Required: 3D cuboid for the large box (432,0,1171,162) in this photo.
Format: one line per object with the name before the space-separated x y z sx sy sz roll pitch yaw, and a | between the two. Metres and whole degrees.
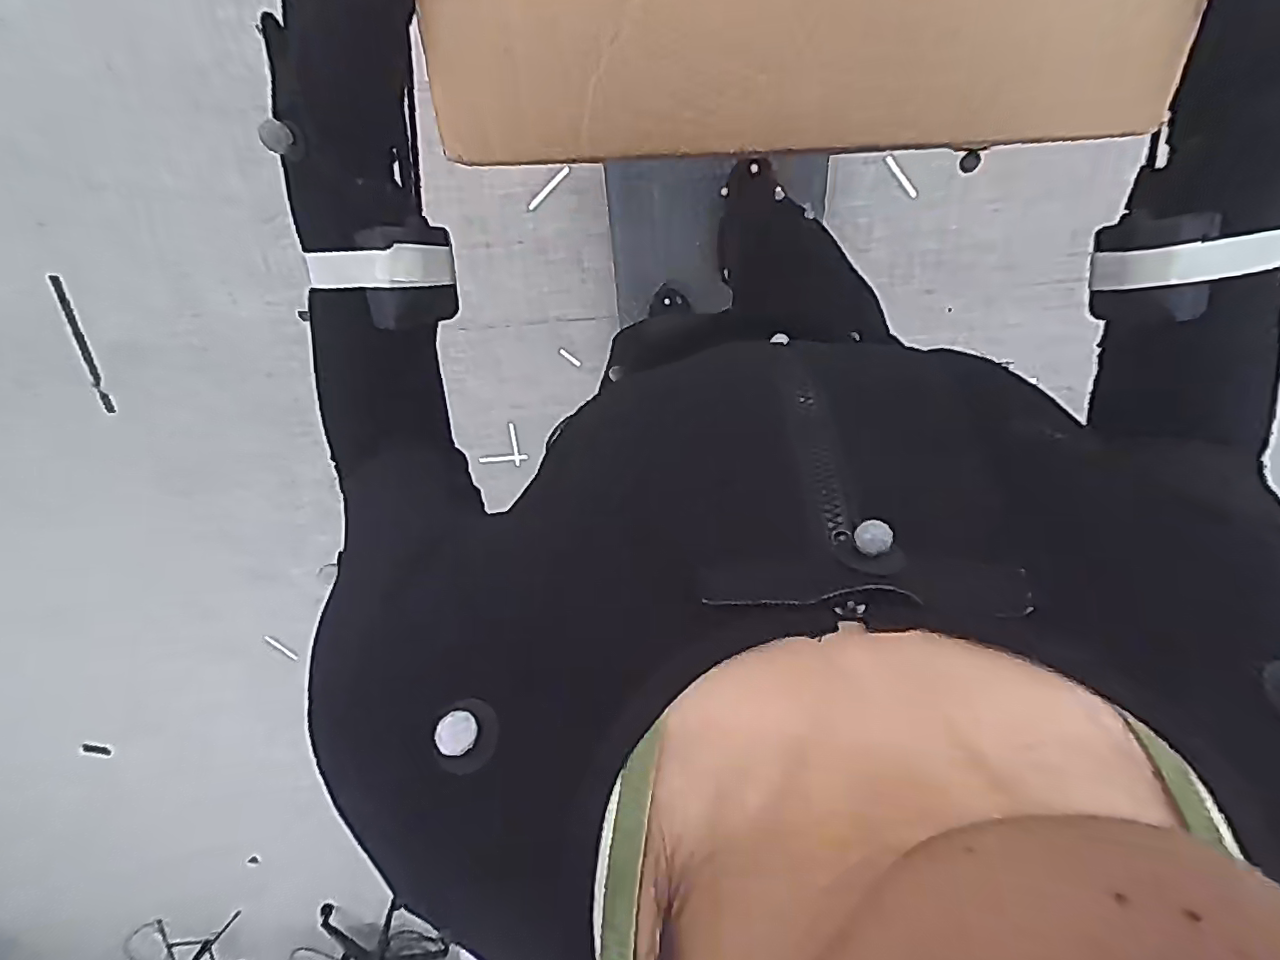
large box | 0.083 -0.408 0.368 0.408 0.320 0.320 -2 120 0
